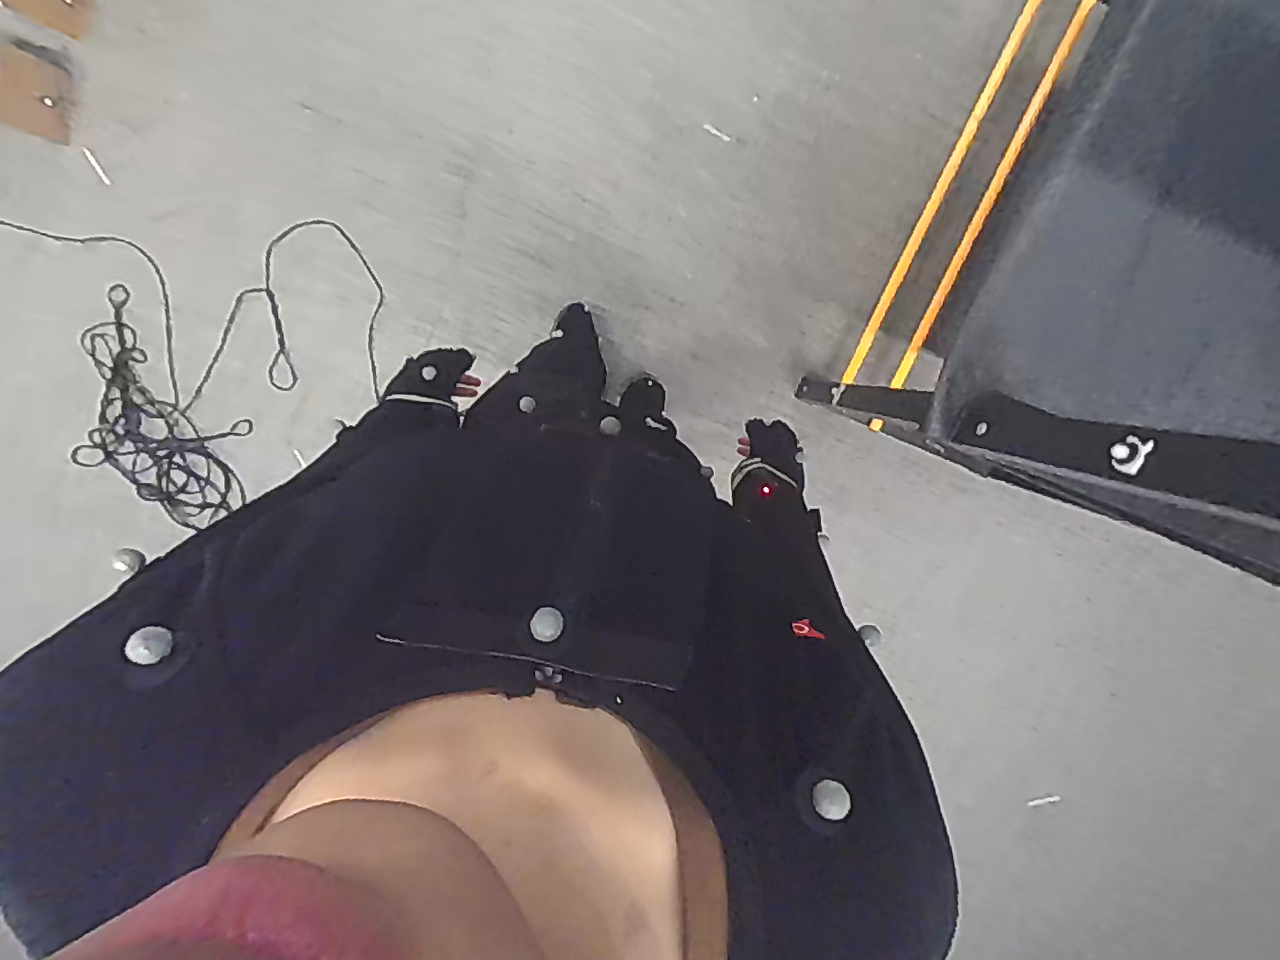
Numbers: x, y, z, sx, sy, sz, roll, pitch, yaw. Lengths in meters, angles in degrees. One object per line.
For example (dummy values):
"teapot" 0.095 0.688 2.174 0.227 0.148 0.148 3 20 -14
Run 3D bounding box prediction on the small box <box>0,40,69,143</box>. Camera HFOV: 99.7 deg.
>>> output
"small box" -1.473 -0.900 1.227 0.179 0.176 0.168 15 103 -3

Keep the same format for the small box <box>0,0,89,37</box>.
"small box" -1.372 -1.126 1.180 0.179 0.176 0.168 23 102 -5
